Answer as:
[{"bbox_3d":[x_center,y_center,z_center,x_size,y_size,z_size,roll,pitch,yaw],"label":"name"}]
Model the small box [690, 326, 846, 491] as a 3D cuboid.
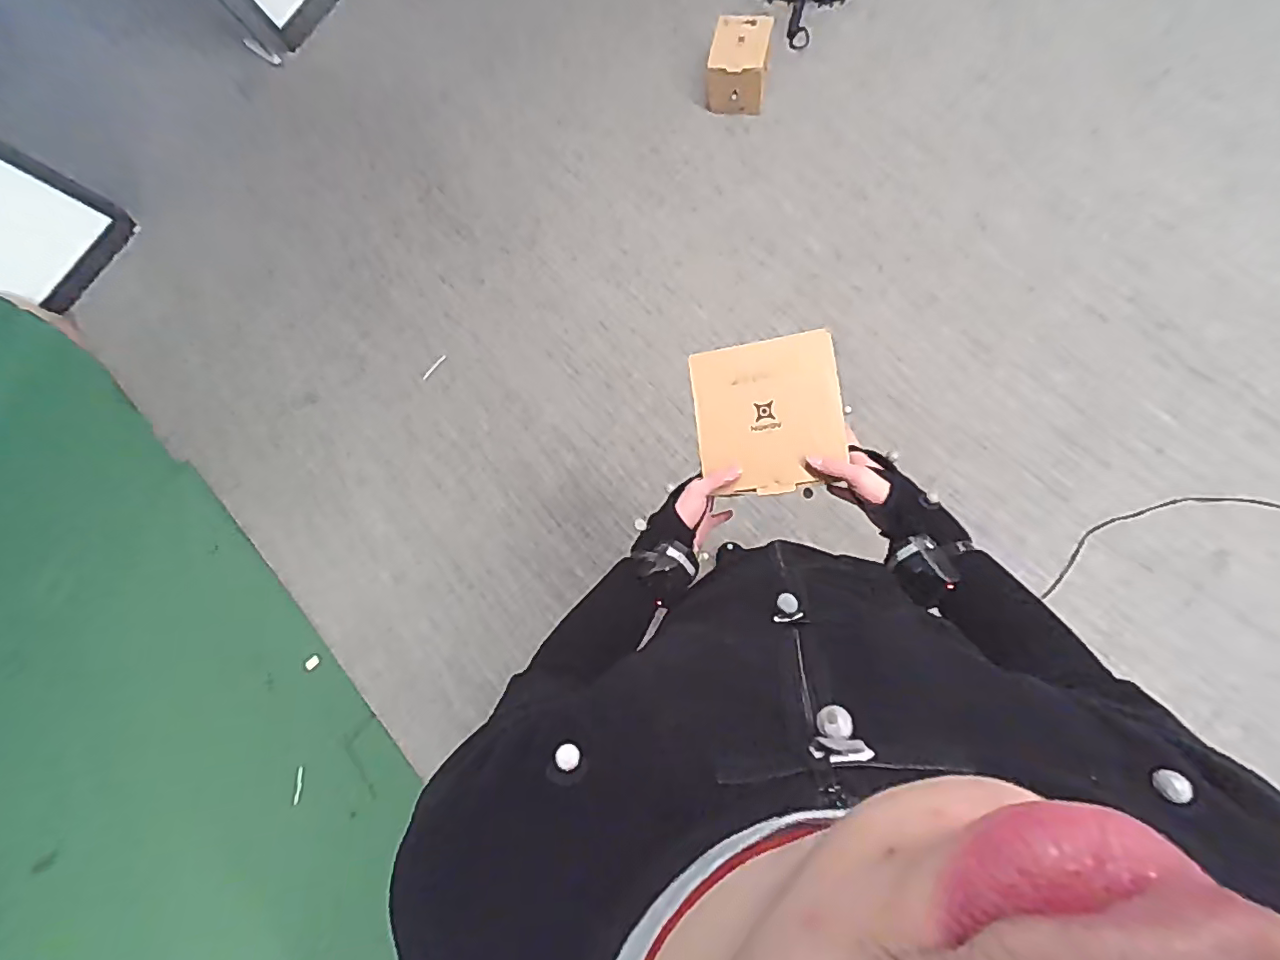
[{"bbox_3d":[0.169,-0.080,0.711,0.168,0.176,0.179,-8,85,14],"label":"small box"}]
